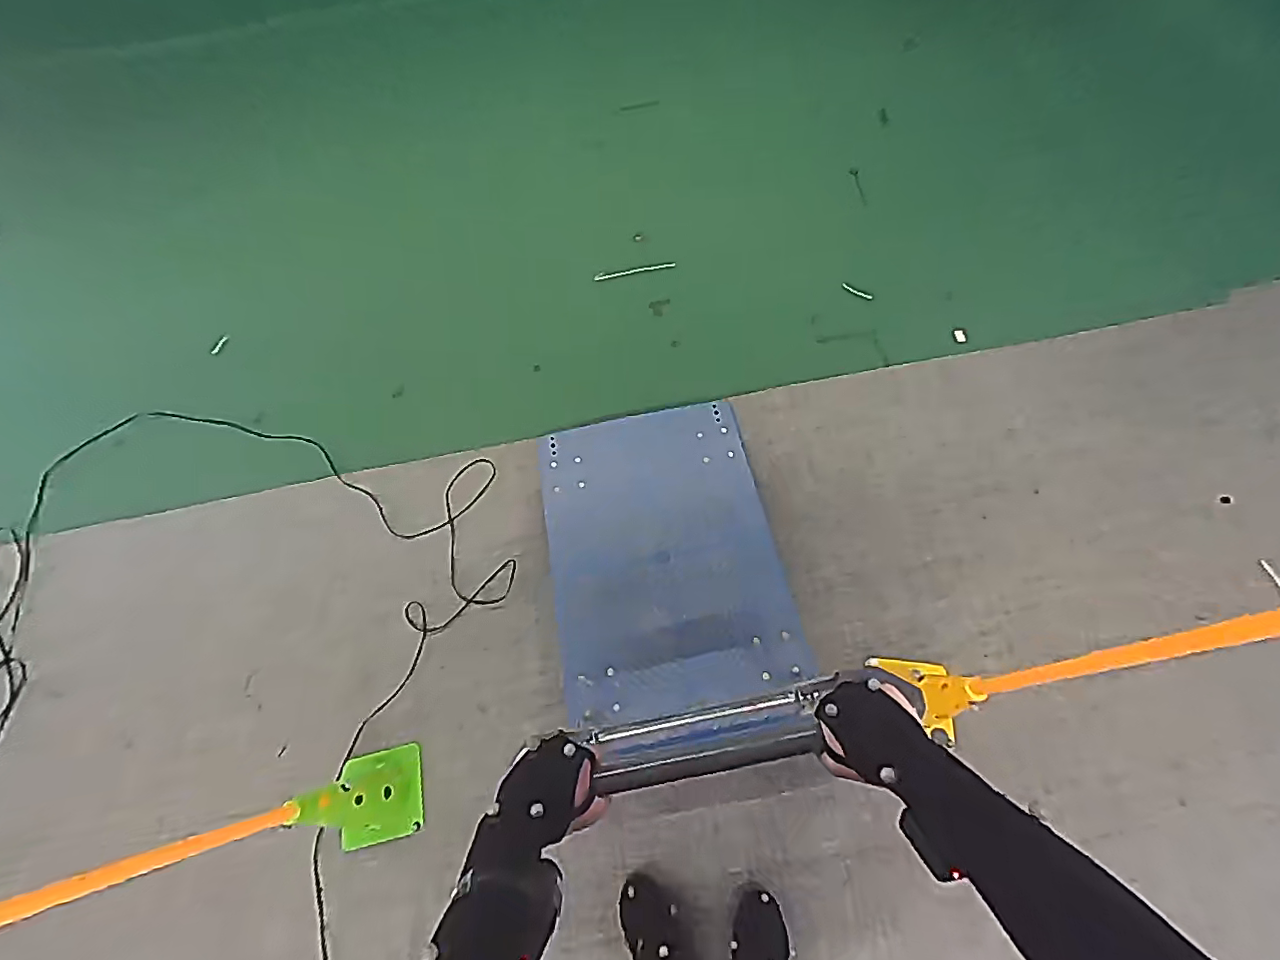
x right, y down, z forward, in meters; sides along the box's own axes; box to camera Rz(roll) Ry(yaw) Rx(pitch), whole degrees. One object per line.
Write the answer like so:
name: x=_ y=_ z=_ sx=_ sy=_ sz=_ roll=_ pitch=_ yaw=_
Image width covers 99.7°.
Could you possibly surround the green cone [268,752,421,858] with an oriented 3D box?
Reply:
green cone: x=-0.658 y=0.719 z=1.178 sx=0.202 sy=0.368 sz=0.200 roll=-15 pitch=63 yaw=-1
